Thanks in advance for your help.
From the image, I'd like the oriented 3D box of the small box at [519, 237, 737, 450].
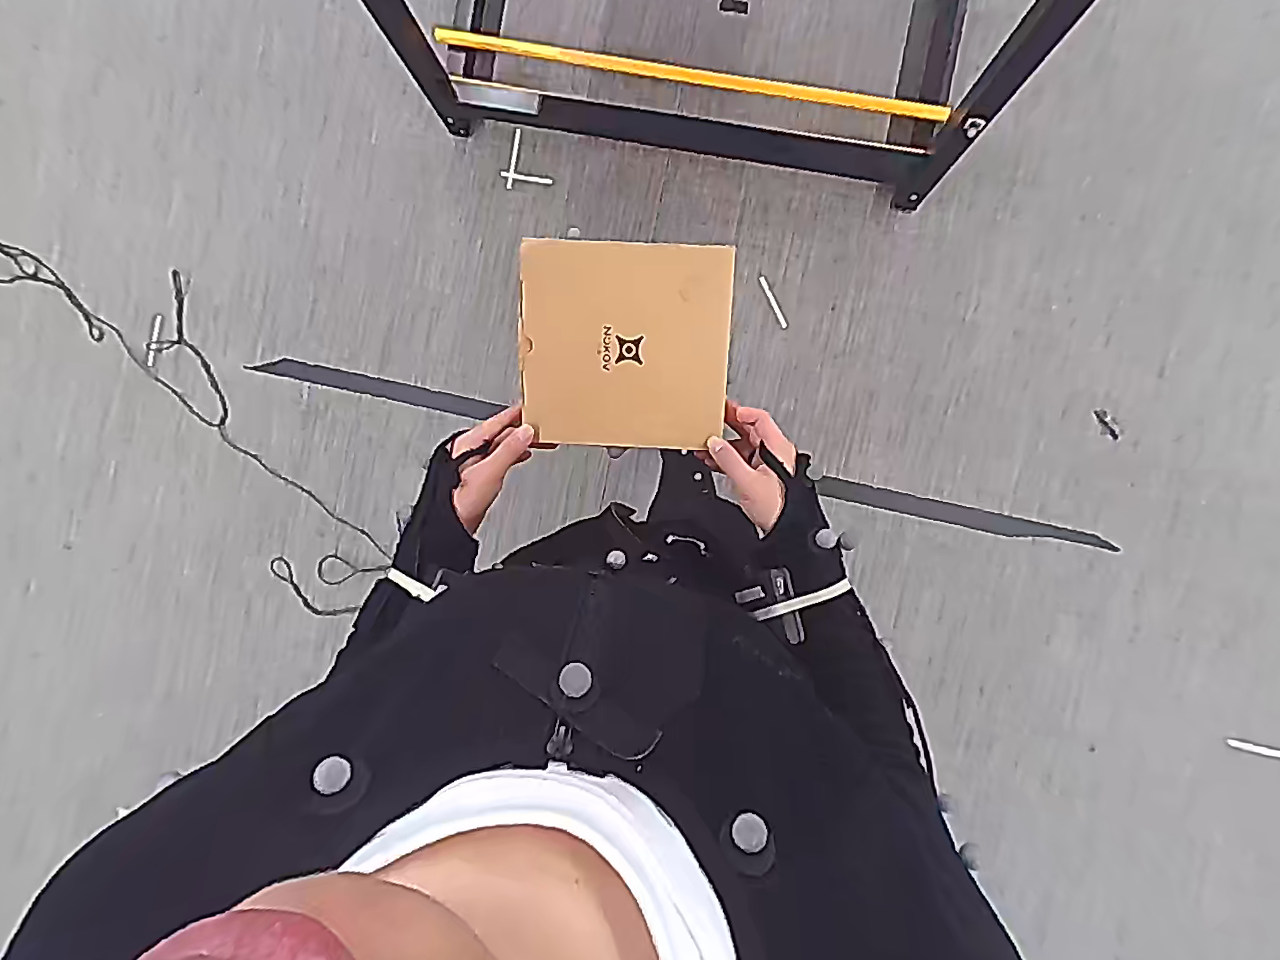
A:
[{"bbox_3d":[-0.009,-0.128,0.521,0.179,0.176,0.168,3,103,3],"label":"small box"}]
